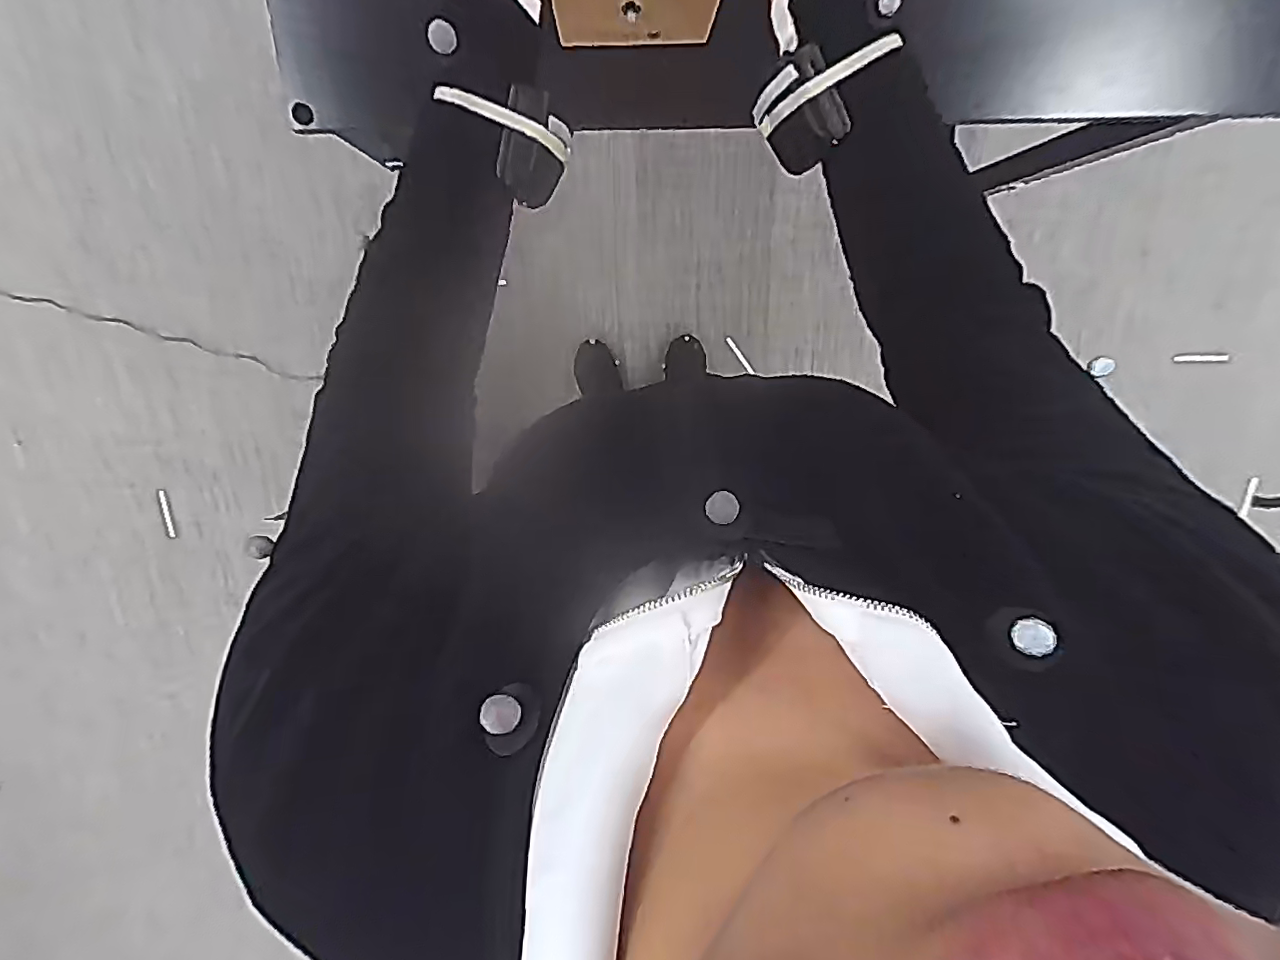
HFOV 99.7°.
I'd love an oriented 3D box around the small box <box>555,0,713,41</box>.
[{"bbox_3d":[-0.007,-0.556,0.517,0.168,0.176,0.179,-3,106,-2],"label":"small box"}]
